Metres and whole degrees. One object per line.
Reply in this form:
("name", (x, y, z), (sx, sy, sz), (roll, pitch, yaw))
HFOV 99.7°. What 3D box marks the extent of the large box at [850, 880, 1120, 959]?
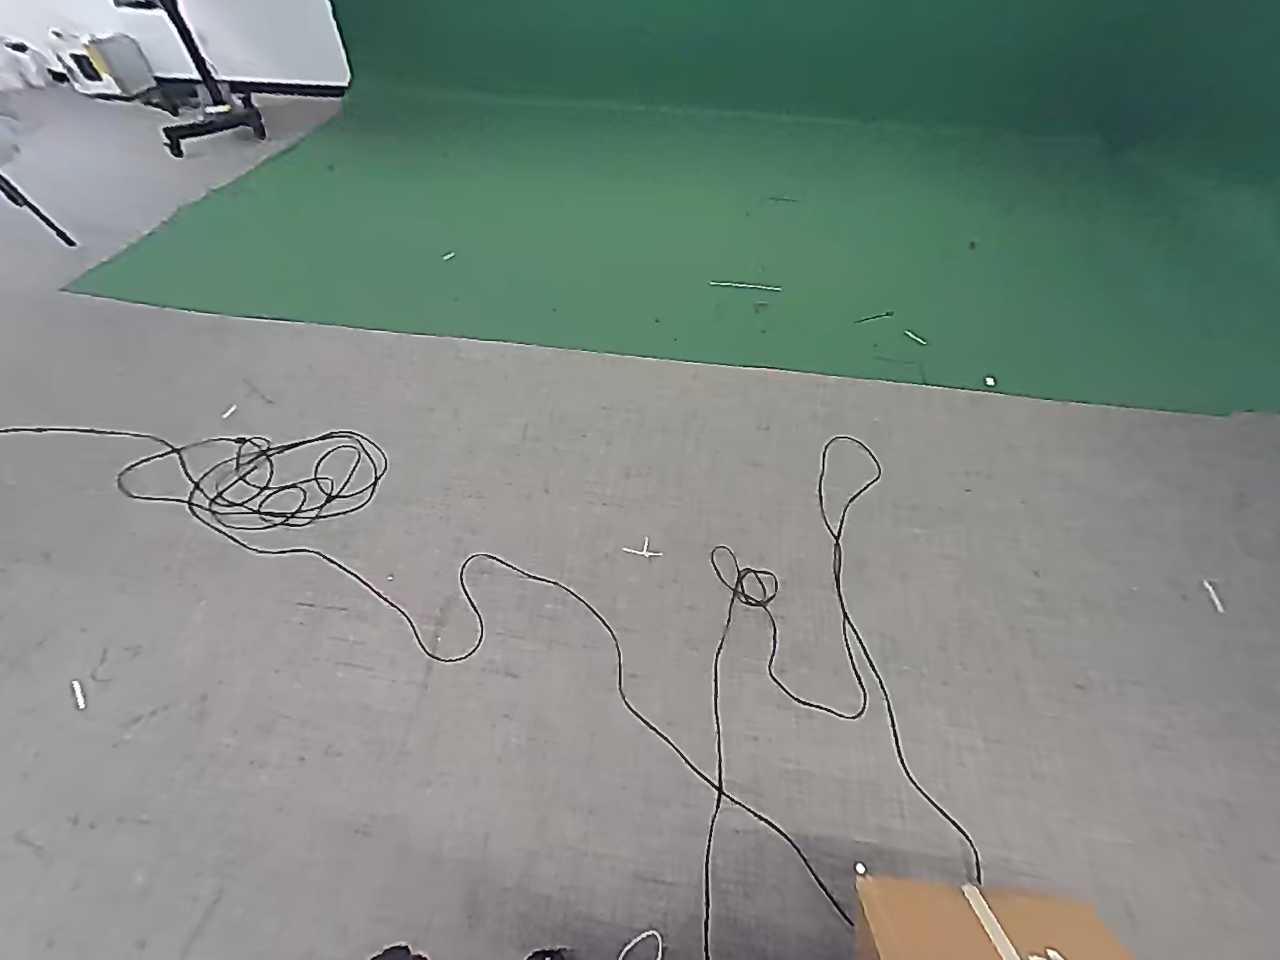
("large box", (0.443, 0.758, 0.603), (0.320, 0.408, 0.320), (1, 92, 8))
